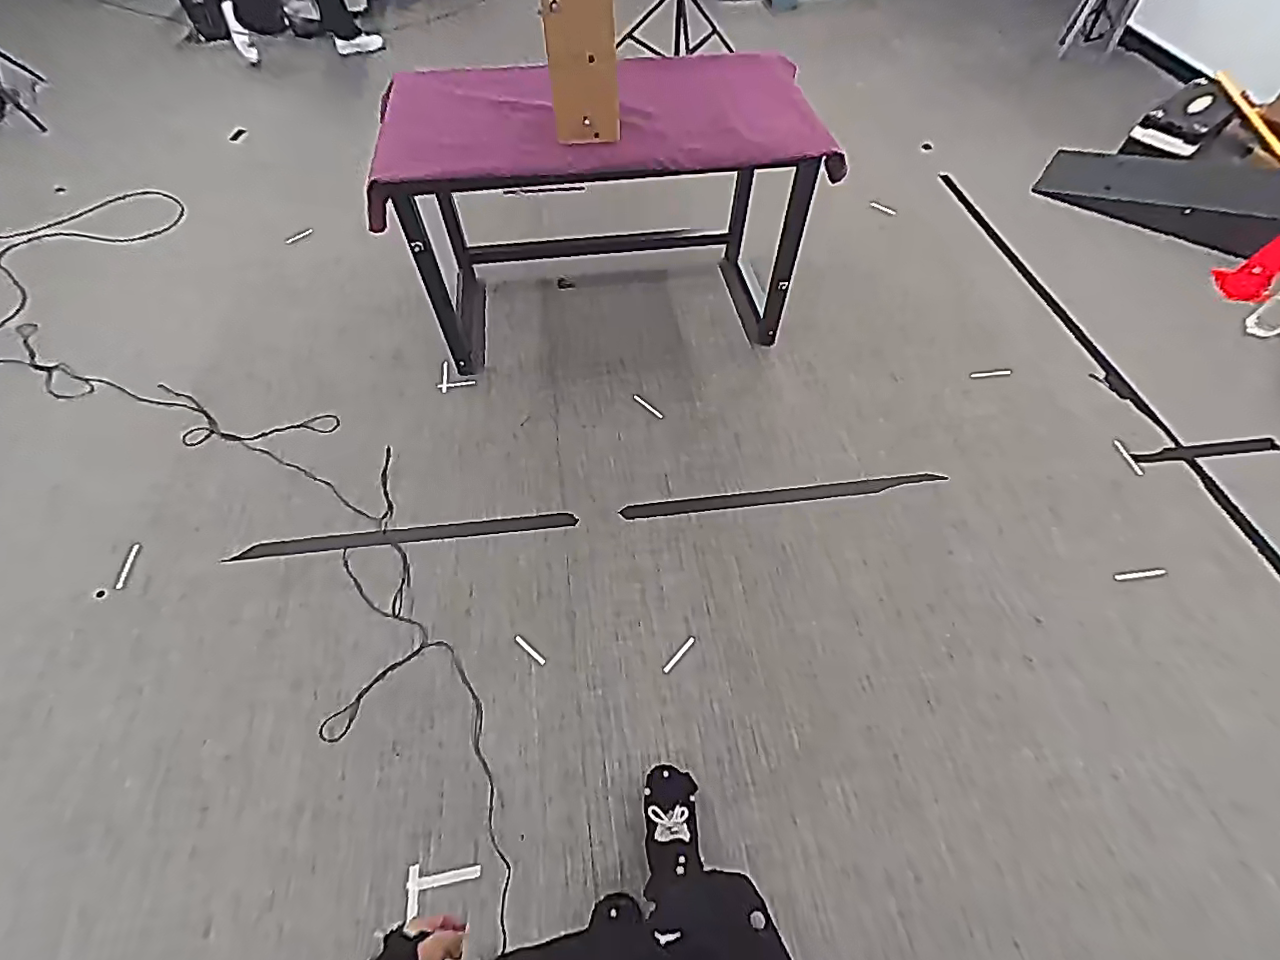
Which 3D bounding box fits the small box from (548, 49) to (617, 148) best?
[{"bbox_3d":[-0.149,-1.005,1.429,0.168,0.176,0.179,-5,56,-3],"label":"small box"}]
